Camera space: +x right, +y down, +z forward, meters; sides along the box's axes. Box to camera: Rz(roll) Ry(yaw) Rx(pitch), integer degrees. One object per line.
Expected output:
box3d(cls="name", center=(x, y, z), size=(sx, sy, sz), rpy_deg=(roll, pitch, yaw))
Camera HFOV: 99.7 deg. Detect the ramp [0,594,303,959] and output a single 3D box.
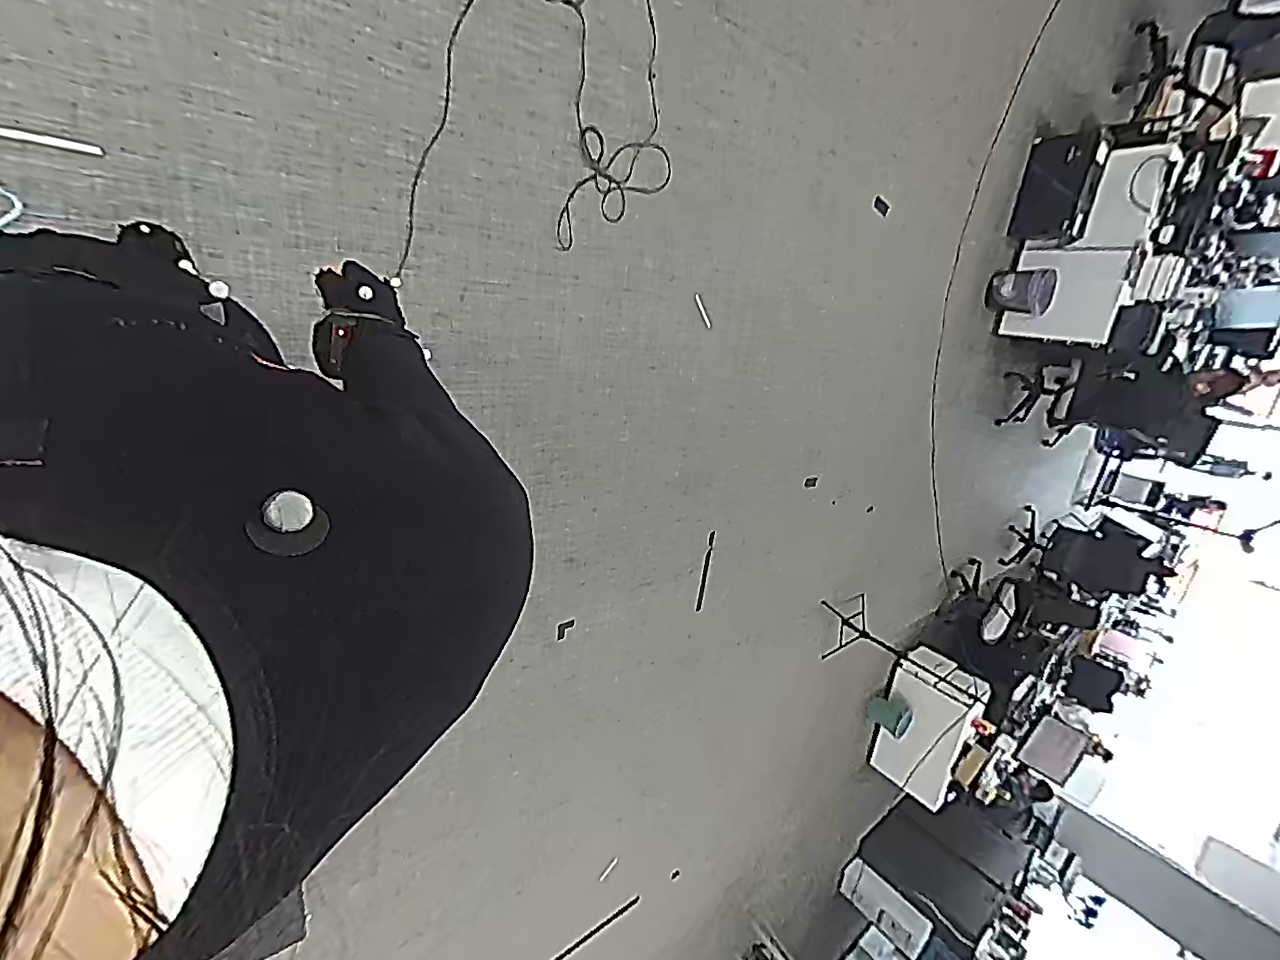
box3d(cls="ramp", center=(-1.119, 0.793, 1.281), size=(0.509, 0.206, 0.991), rpy_deg=(-7, 112, -38))
